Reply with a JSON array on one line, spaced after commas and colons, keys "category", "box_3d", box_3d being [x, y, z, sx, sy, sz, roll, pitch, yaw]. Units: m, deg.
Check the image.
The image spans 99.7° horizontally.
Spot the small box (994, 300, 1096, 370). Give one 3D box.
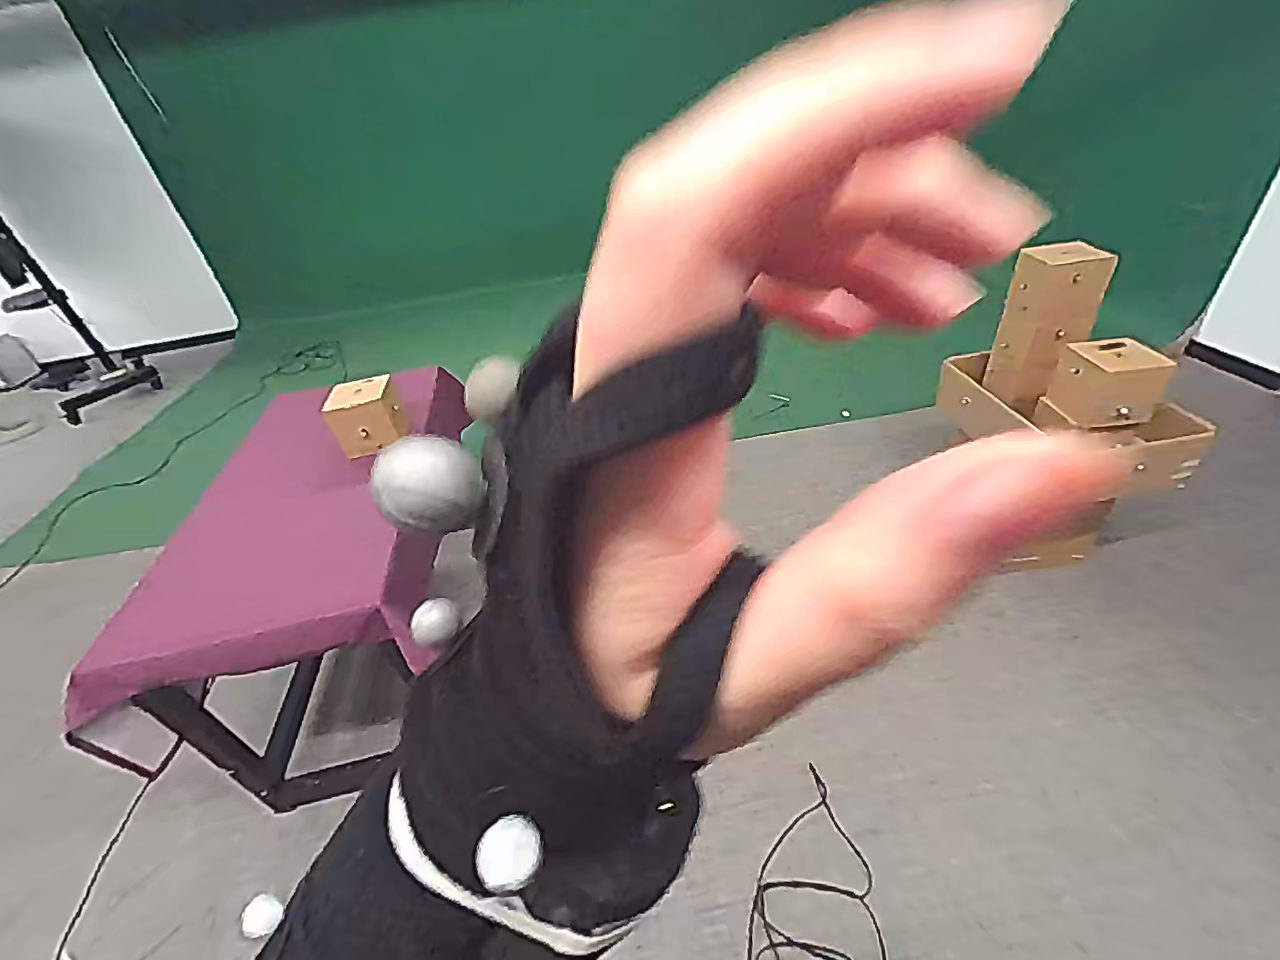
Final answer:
[{"category": "small box", "box_3d": [1.256, -0.461, 1.691, 0.179, 0.176, 0.168, -6, 37, 4]}]

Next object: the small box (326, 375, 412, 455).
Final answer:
[{"category": "small box", "box_3d": [-0.806, -0.189, 1.630, 0.168, 0.176, 0.179, -13, 38, -5]}]

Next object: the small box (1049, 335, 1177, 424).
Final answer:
[{"category": "small box", "box_3d": [1.245, -0.268, 1.442, 0.168, 0.176, 0.179, -6, 37, 5]}]

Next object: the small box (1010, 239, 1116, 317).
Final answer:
[{"category": "small box", "box_3d": [1.232, -0.592, 1.595, 0.179, 0.176, 0.168, -6, 38, 4]}]
